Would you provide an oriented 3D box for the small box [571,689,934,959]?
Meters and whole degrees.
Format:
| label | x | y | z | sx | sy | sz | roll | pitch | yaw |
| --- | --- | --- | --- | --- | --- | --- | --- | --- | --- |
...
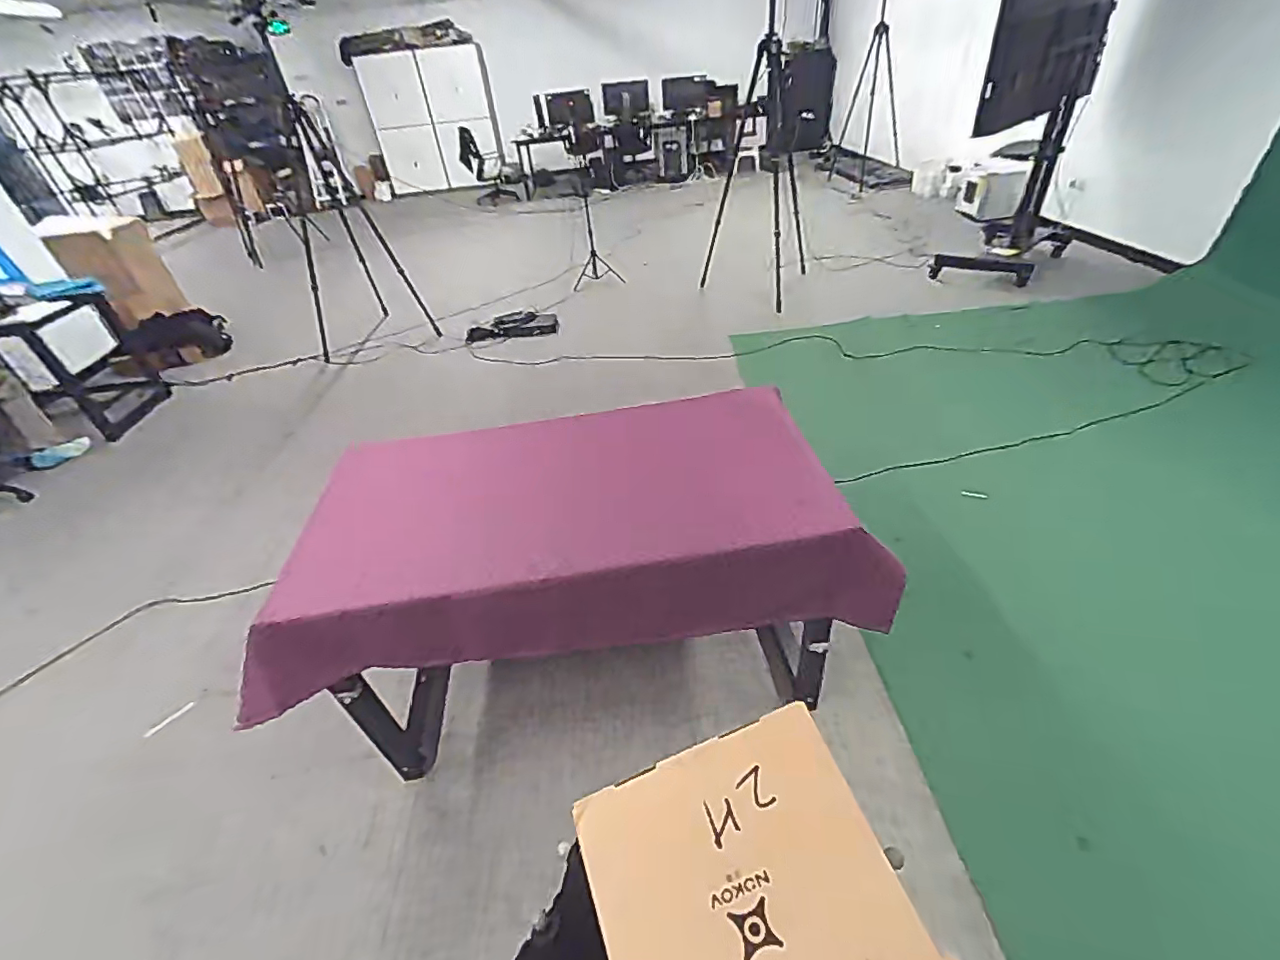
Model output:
| label | x | y | z | sx | sy | sz | roll | pitch | yaw |
| --- | --- | --- | --- | --- | --- | --- | --- | --- | --- |
| small box | 0.072 | 0.276 | 0.375 | 0.168 | 0.176 | 0.179 | -23 | 54 | -3 |
